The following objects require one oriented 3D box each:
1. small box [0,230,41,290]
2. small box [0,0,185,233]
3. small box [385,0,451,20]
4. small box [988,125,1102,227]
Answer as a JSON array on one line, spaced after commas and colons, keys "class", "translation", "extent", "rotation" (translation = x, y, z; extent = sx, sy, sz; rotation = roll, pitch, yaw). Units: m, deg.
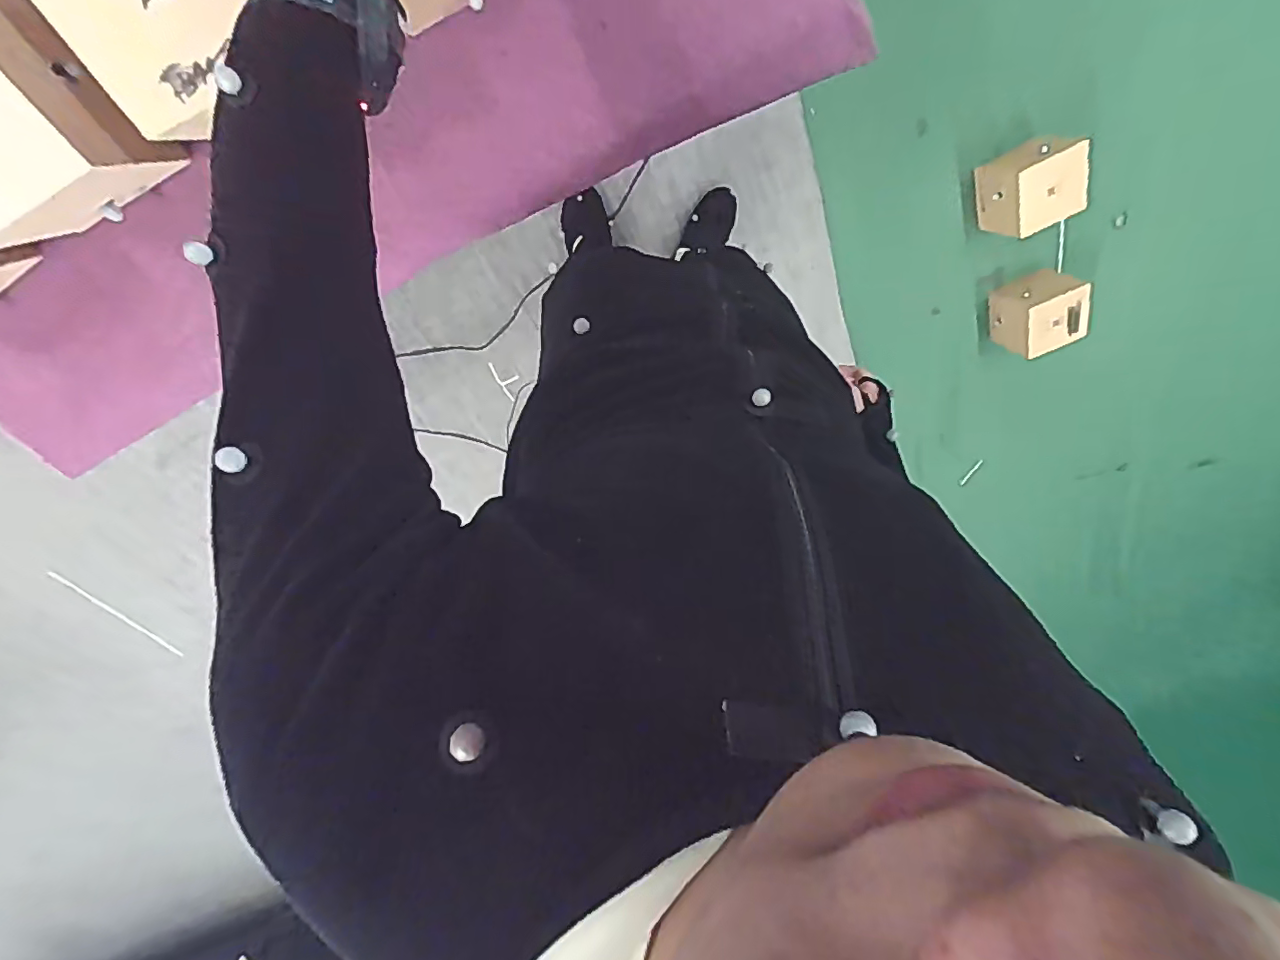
[{"class": "small box", "translation": [-0.805, -0.252, 0.546], "extent": [0.168, 0.176, 0.179], "rotation": [-29, 123, 11]}, {"class": "small box", "translation": [-0.605, -0.355, 0.511], "extent": [0.168, 0.176, 0.179], "rotation": [-25, 124, 8]}, {"class": "small box", "translation": [-0.200, -0.538, 0.455], "extent": [0.168, 0.176, 0.179], "rotation": [-23, 124, 7]}, {"class": "small box", "translation": [1.017, -0.769, 1.373], "extent": [0.179, 0.176, 0.168], "rotation": [-25, 123, 7]}]
